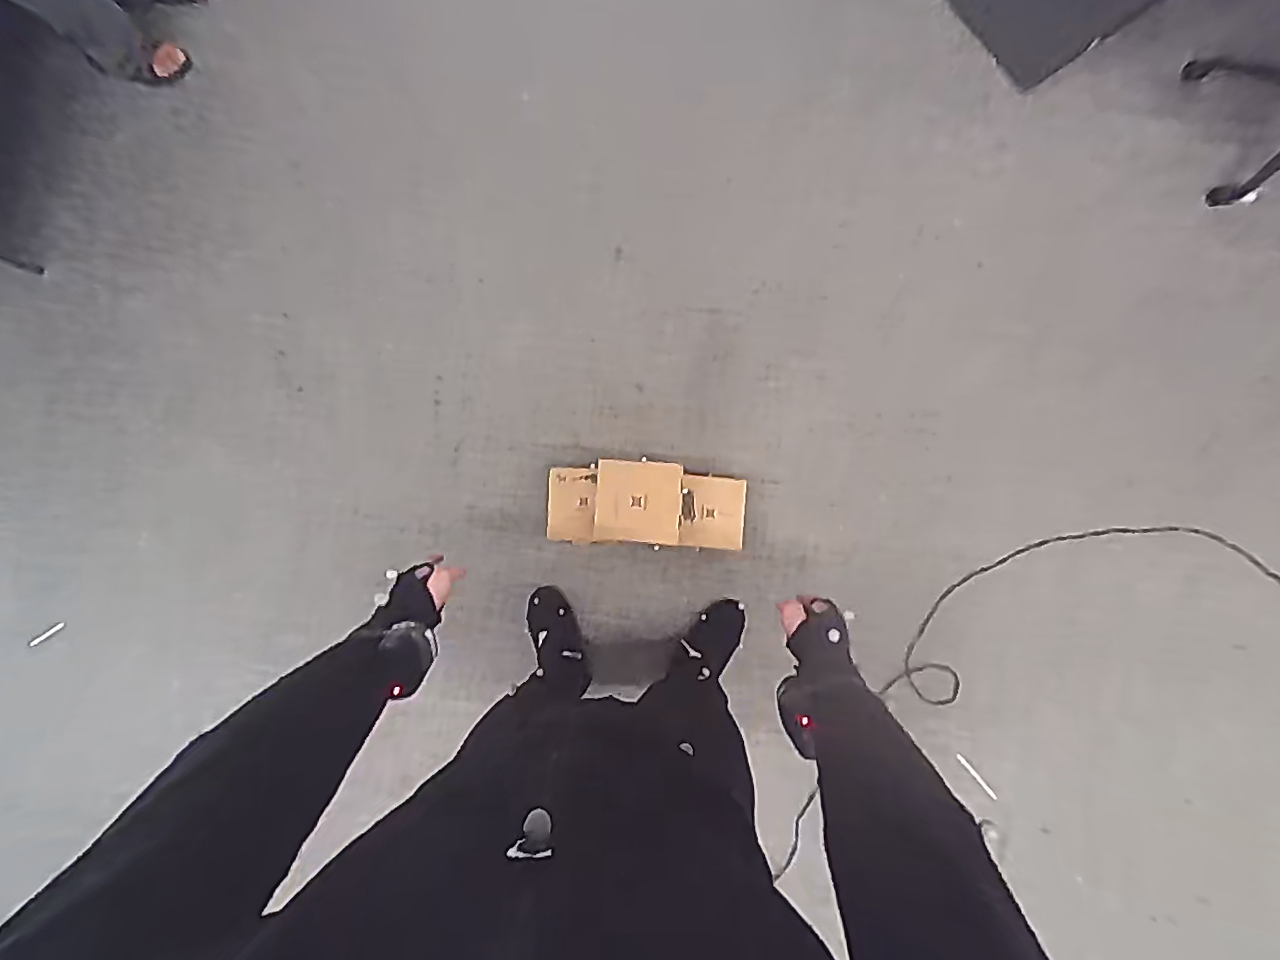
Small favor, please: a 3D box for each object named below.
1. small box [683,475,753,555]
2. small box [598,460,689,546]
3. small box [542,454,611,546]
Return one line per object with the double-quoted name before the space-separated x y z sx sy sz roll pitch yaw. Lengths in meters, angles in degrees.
"small box" 0.171 0.086 1.335 0.179 0.176 0.168 9 87 4
"small box" 0.012 0.055 1.186 0.179 0.176 0.168 4 83 4
"small box" -0.115 0.057 1.347 0.179 0.176 0.168 -28 81 1
